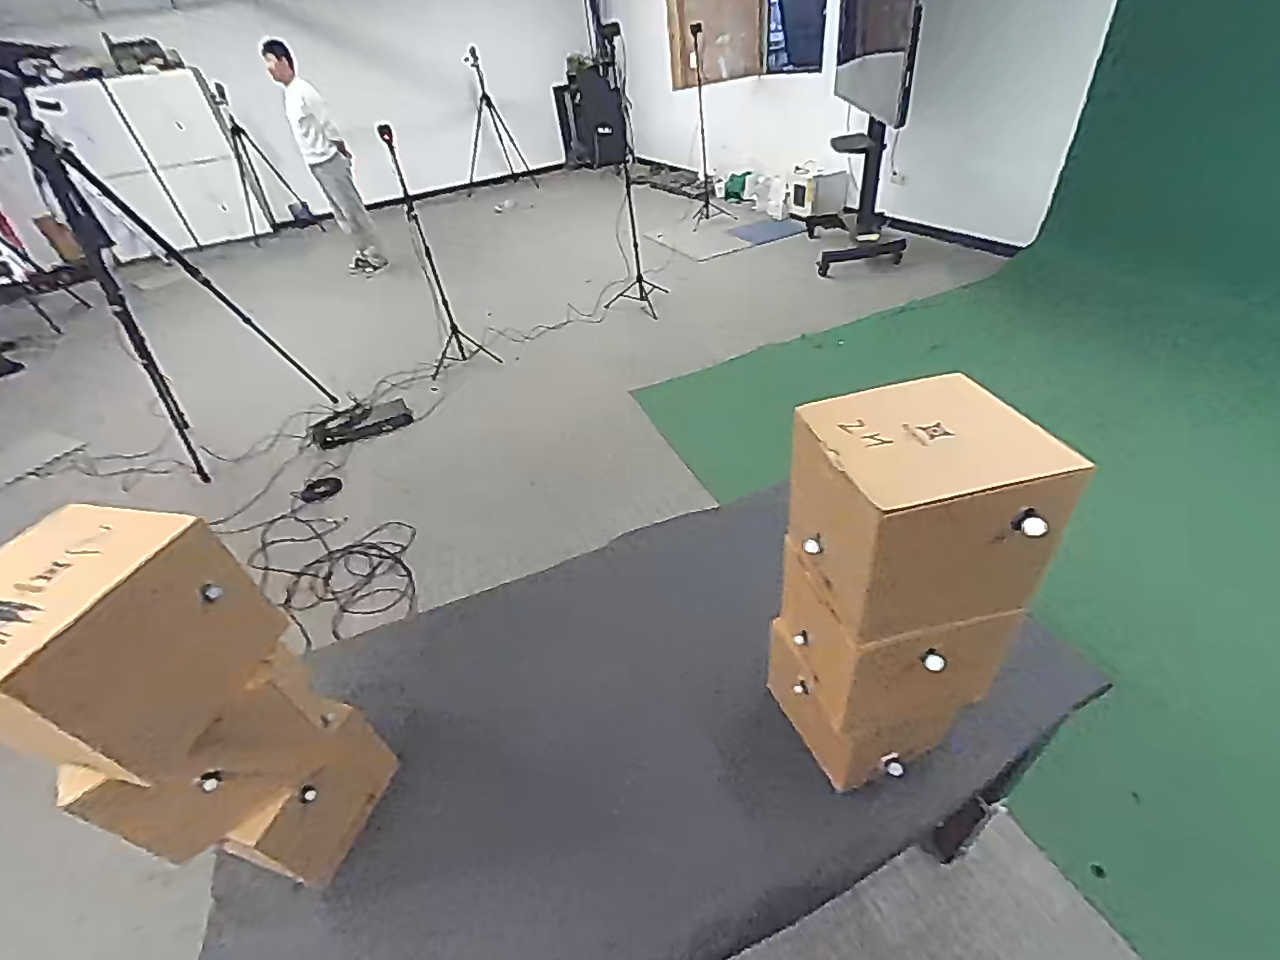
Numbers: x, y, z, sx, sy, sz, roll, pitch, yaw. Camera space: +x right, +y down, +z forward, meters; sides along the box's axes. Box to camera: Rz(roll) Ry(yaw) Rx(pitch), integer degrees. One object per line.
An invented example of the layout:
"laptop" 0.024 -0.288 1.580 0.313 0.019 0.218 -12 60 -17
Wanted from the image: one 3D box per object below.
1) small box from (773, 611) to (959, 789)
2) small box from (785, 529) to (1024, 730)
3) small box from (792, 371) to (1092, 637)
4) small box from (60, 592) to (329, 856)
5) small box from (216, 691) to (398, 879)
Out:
"small box" 0.291 0.269 0.727 0.168 0.176 0.179 -20 40 -12
"small box" 0.276 0.152 0.615 0.179 0.176 0.168 -14 38 -4
"small box" 0.257 0.022 0.515 0.179 0.176 0.168 -13 38 -2
"small box" -0.483 0.269 0.609 0.179 0.176 0.168 -33 46 -27
"small box" -0.466 0.393 0.717 0.179 0.176 0.168 7 42 17
